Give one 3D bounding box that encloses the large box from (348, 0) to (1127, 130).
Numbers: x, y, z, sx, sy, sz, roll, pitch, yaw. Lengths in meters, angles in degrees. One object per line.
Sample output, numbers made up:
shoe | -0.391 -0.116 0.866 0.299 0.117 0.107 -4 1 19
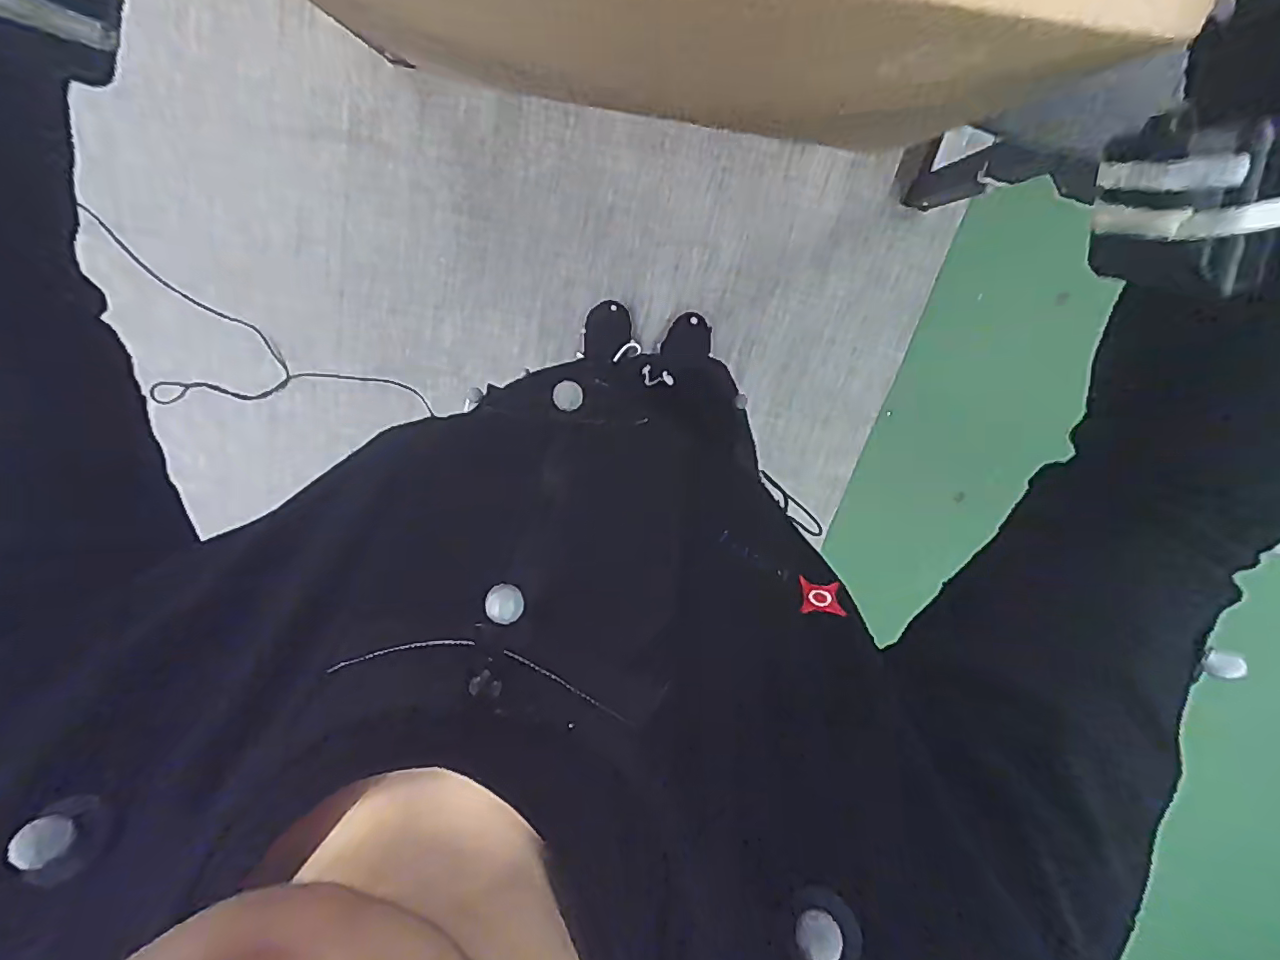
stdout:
large box | 0.031 -0.403 0.270 0.408 0.320 0.320 9 115 0
